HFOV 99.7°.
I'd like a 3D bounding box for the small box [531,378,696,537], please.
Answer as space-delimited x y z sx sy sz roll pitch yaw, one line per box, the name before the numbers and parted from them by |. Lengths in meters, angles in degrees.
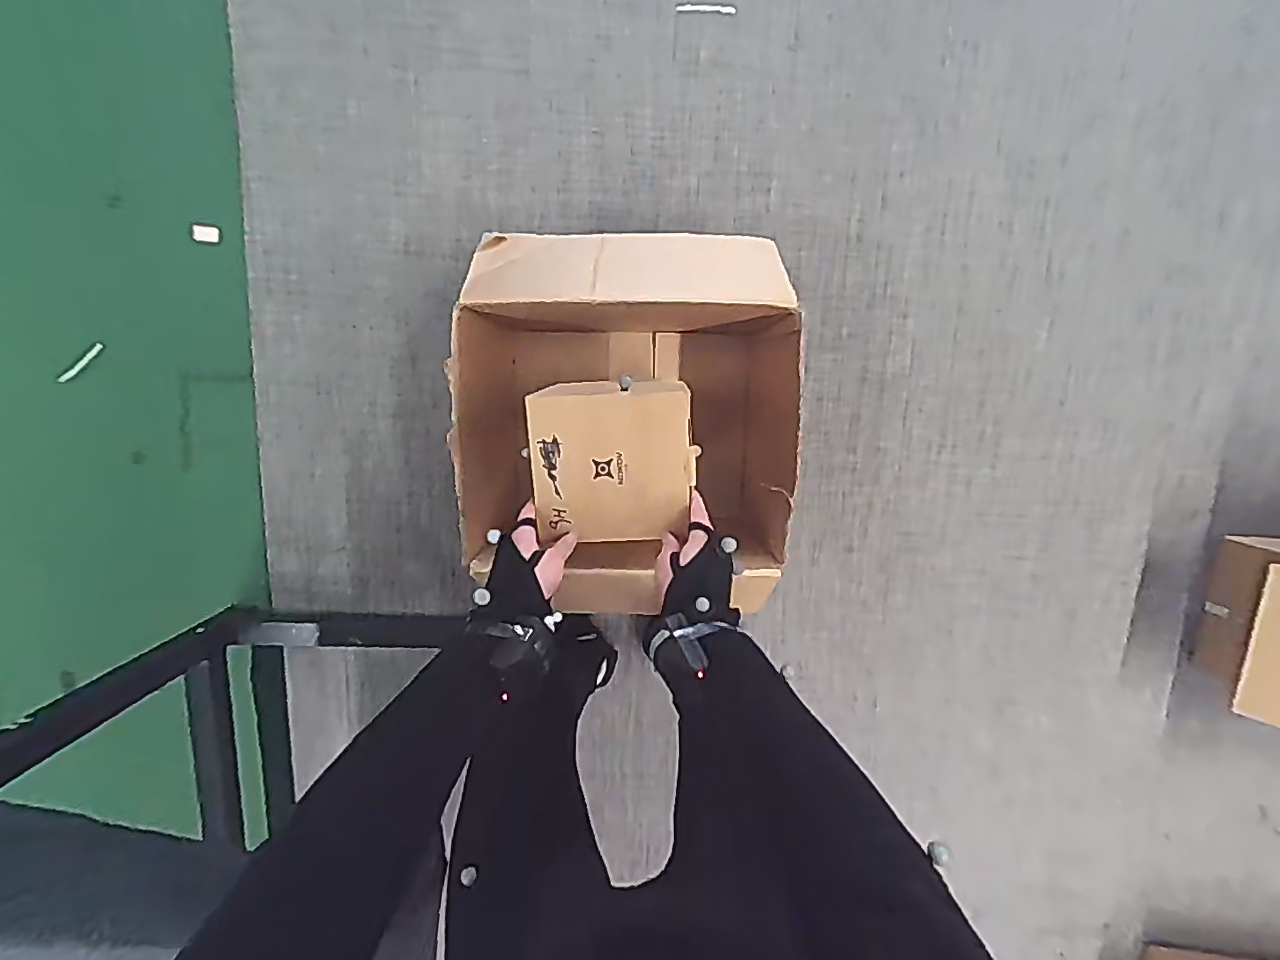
small box | -0.027 -0.037 0.684 0.179 0.176 0.168 -4 103 2
